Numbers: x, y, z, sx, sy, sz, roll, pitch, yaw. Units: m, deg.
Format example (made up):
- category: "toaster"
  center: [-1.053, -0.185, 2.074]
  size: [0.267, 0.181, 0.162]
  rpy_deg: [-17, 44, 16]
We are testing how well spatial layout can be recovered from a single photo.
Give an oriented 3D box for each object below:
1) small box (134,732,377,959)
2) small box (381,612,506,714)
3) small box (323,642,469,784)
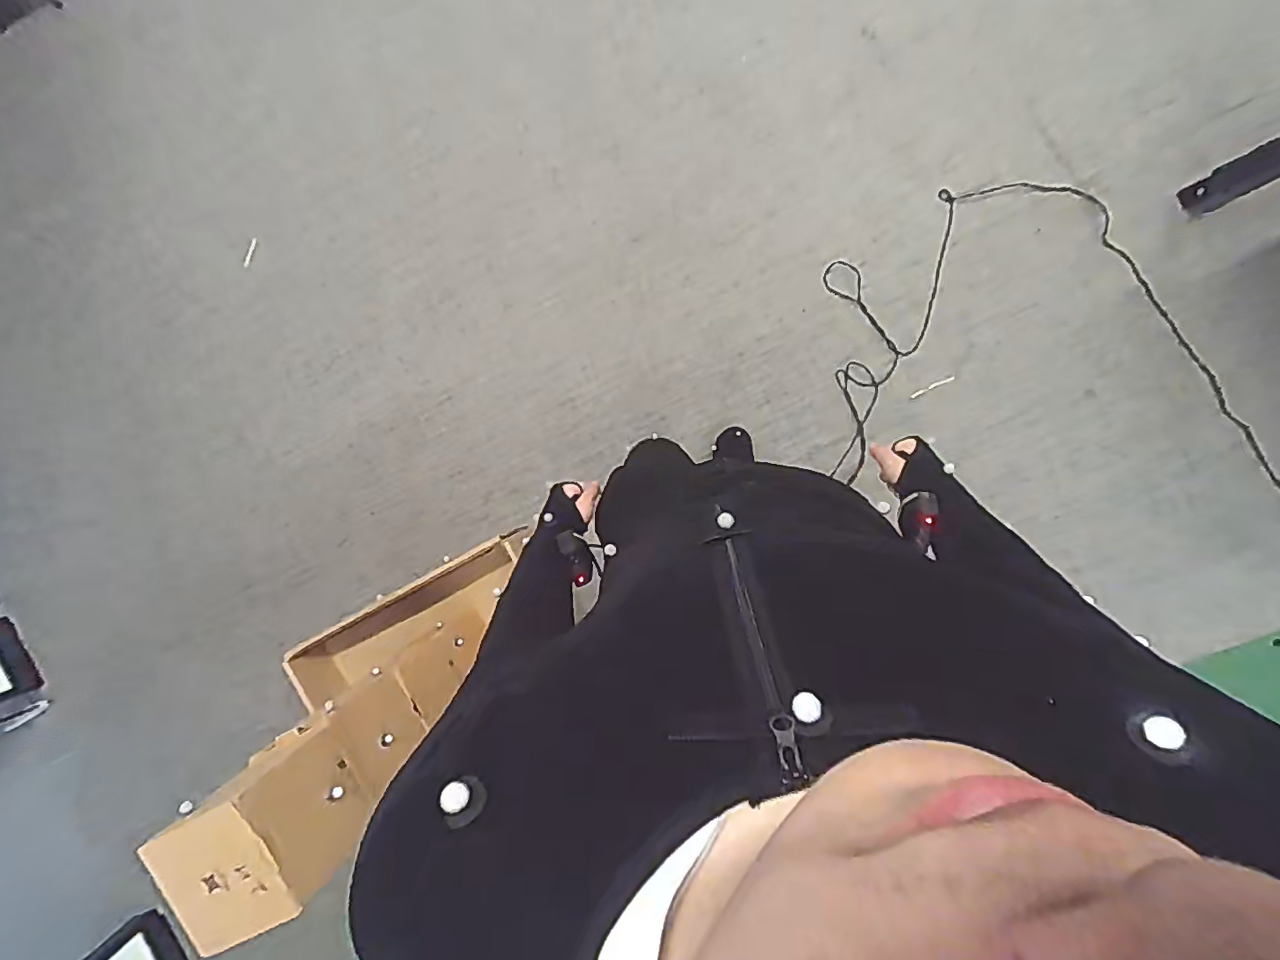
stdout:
- category: "small box"
  center: [-0.508, 0.487, 0.739]
  size: [0.179, 0.176, 0.168]
  rpy_deg: [-30, 91, 10]
- category: "small box"
  center: [-0.434, 0.429, 1.223]
  size: [0.168, 0.176, 0.179]
  rpy_deg: [-29, 90, 10]
- category: "small box"
  center: [-0.463, 0.446, 1.062]
  size: [0.179, 0.176, 0.168]
  rpy_deg: [-28, 91, 11]
